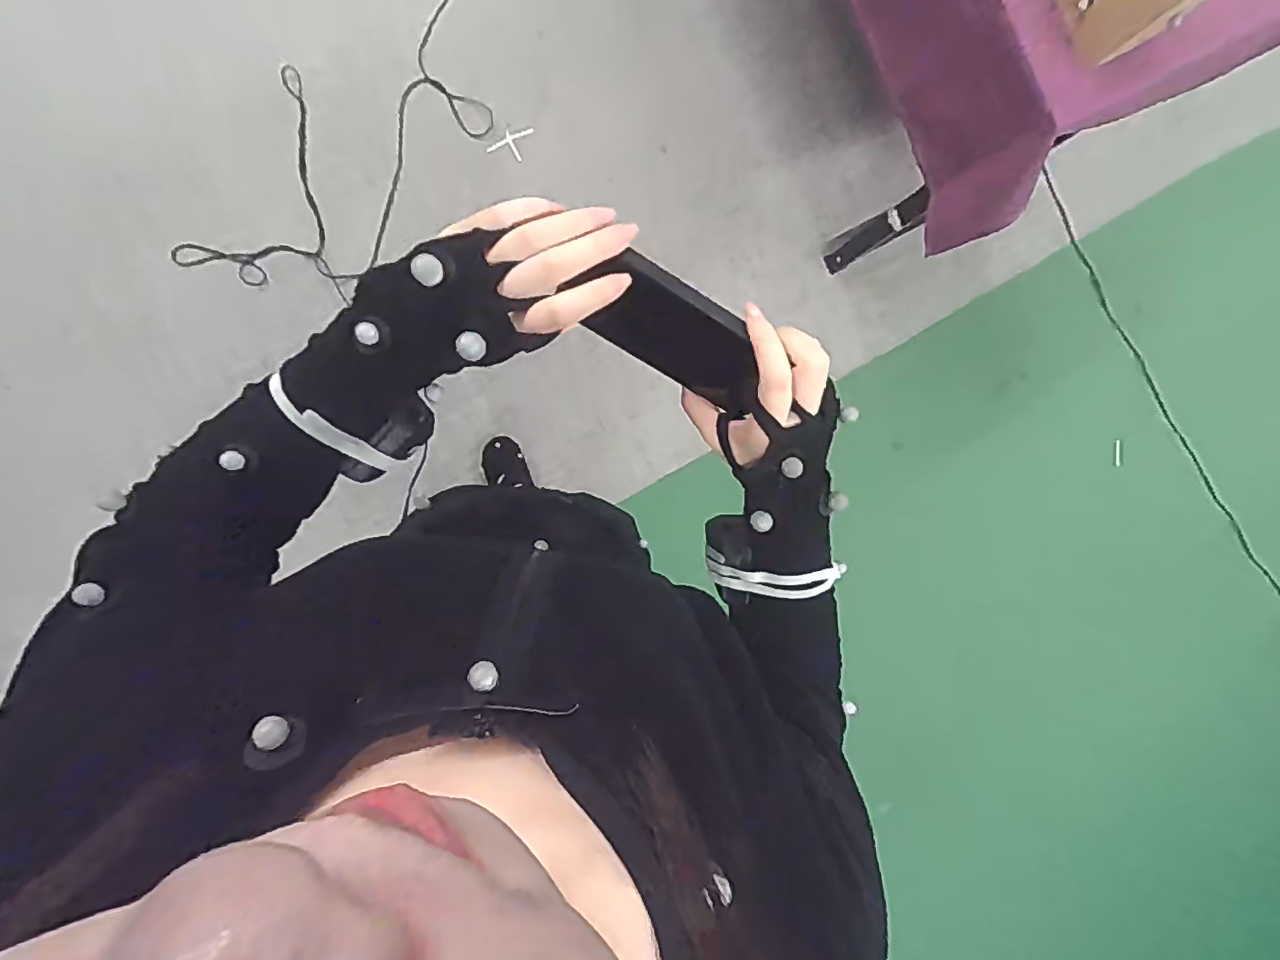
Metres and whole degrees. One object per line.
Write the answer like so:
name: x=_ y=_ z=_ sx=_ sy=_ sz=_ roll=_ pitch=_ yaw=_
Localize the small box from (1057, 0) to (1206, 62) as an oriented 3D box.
small box: x=0.773 y=-0.779 z=0.811 sx=0.168 sy=0.176 sz=0.179 roll=-30 pitch=97 yaw=-8
